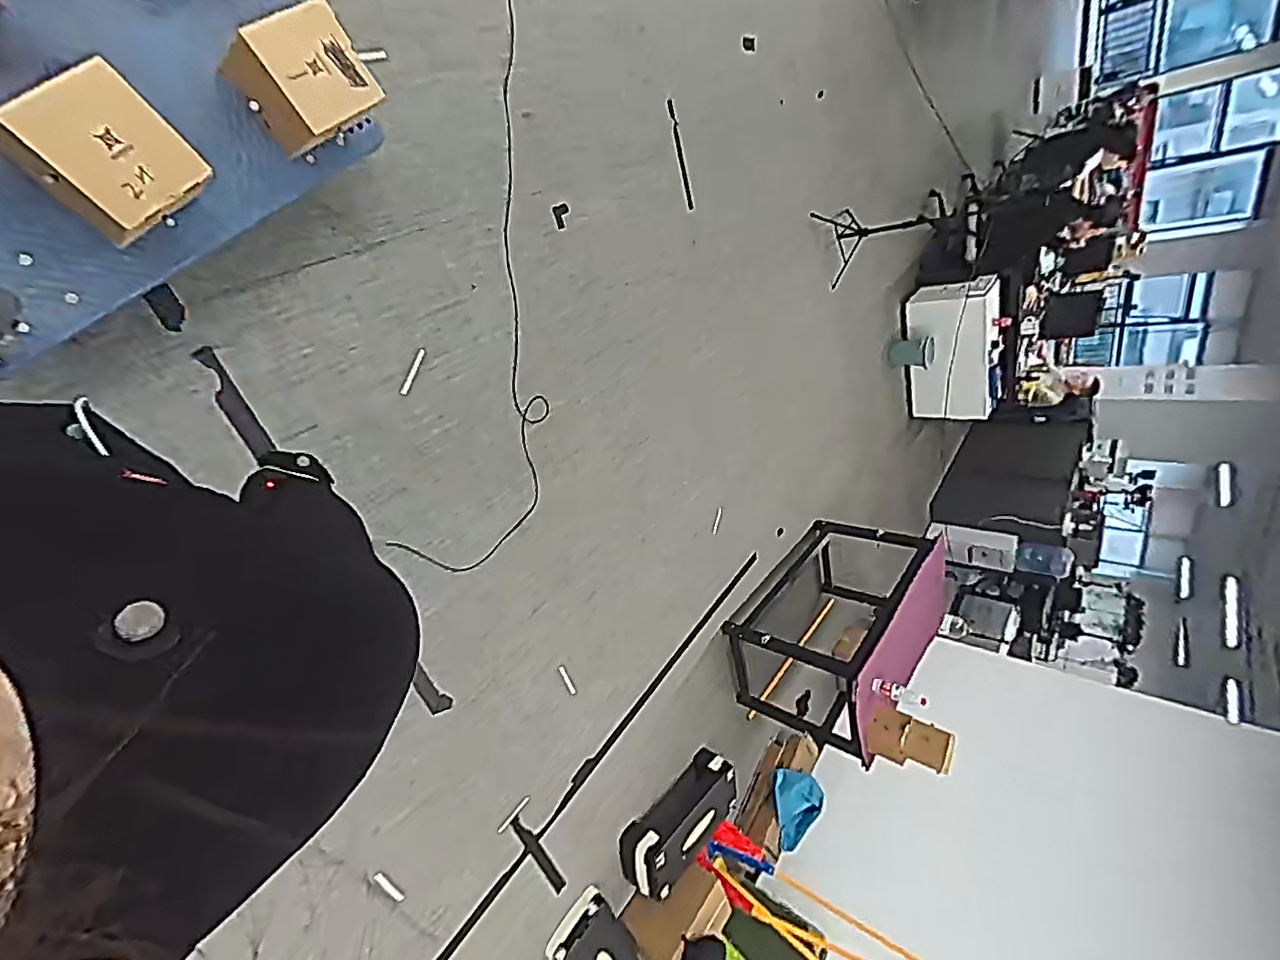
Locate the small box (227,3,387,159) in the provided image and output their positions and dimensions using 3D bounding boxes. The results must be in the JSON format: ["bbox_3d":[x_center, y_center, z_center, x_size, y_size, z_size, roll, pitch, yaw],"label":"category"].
[{"bbox_3d":[-0.630,-0.745,1.022,0.179,0.176,0.168,-52,131,-26],"label":"small box"}]

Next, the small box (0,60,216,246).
[{"bbox_3d":[-0.829,-0.499,0.849,0.168,0.176,0.179,-57,133,-24],"label":"small box"}]
